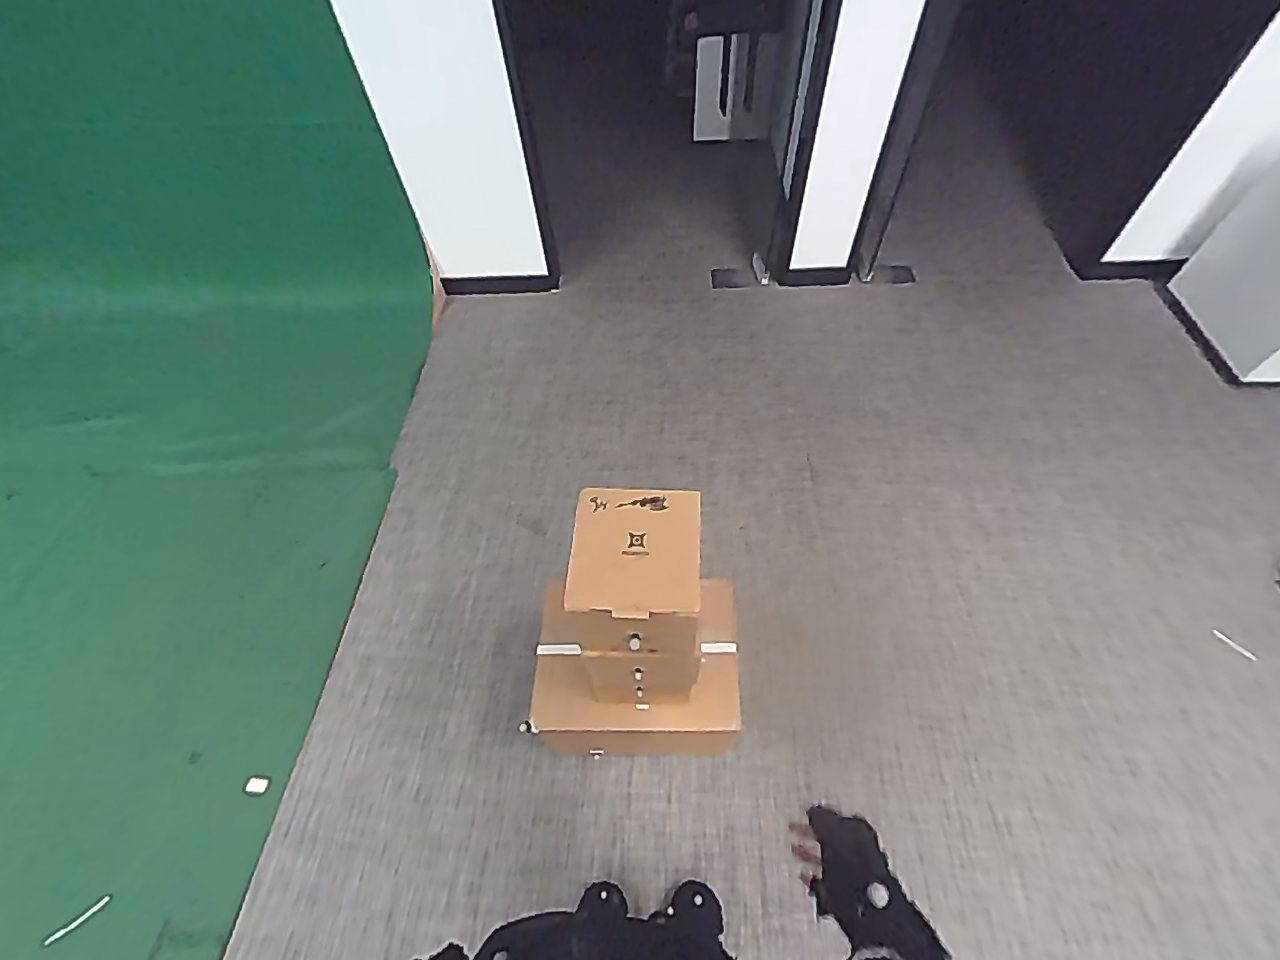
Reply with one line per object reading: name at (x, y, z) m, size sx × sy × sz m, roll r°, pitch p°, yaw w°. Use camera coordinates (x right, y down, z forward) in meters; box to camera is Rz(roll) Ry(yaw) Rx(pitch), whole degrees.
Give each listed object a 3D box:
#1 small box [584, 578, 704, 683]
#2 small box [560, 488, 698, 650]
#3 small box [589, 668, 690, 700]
small box at (0.005, 0.227, 0.885) m, size 0.179 × 0.176 × 0.168 m, roll -3°, pitch 57°, yaw 0°
small box at (-0.004, 0.128, 0.754) m, size 0.168 × 0.176 × 0.179 m, roll 2°, pitch 57°, yaw 5°
small box at (0.006, 0.313, 1.024) m, size 0.179 × 0.176 × 0.168 m, roll 1°, pitch 57°, yaw 2°
